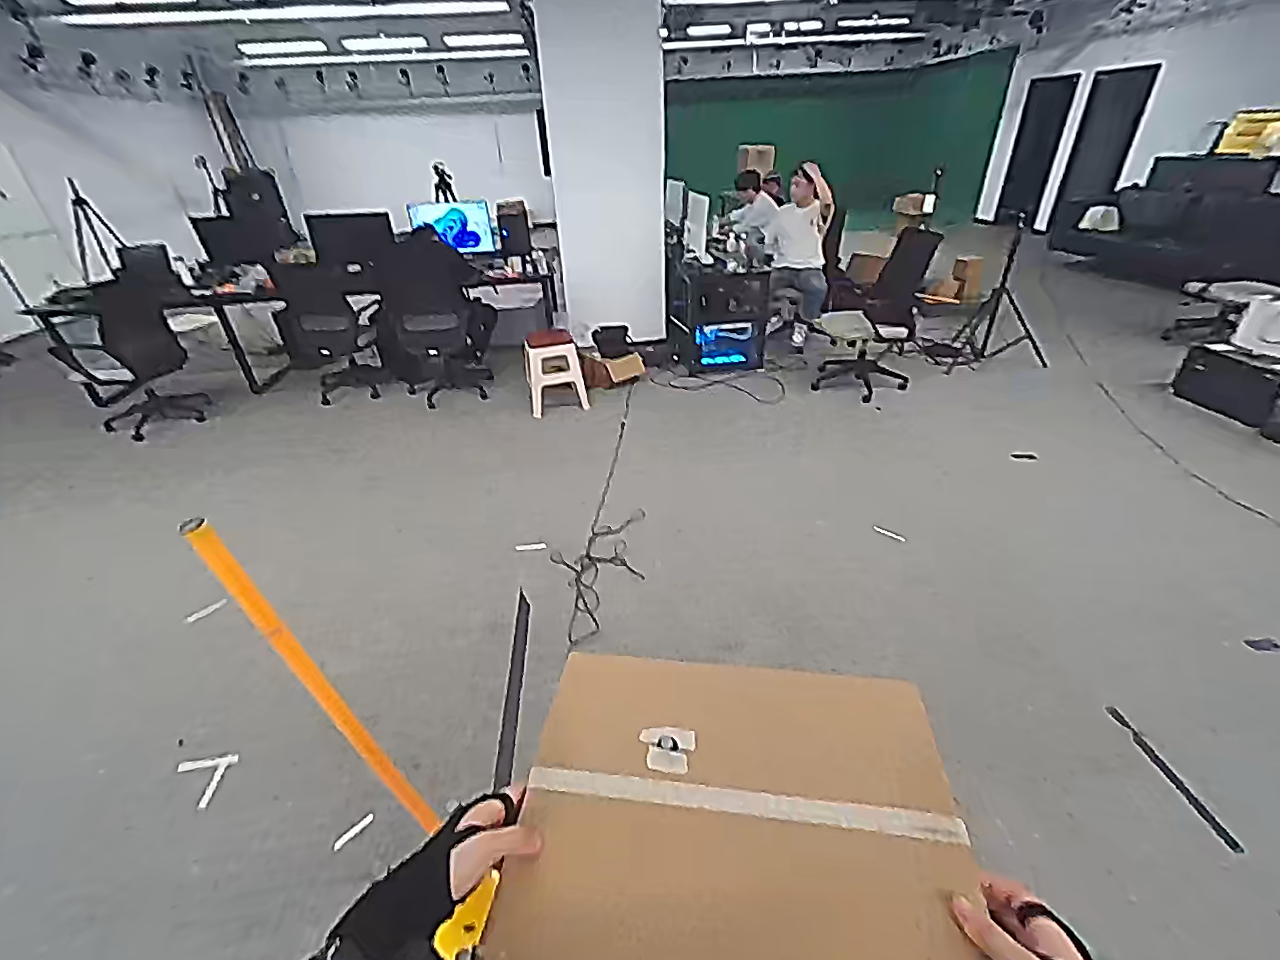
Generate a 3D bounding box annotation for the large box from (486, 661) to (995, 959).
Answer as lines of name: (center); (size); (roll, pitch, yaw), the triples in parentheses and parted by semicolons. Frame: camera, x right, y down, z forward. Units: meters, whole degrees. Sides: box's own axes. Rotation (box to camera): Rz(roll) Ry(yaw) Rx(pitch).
large box: (0.105, 0.434, 0.604); (0.408, 0.320, 0.320); (0, 33, 10)
